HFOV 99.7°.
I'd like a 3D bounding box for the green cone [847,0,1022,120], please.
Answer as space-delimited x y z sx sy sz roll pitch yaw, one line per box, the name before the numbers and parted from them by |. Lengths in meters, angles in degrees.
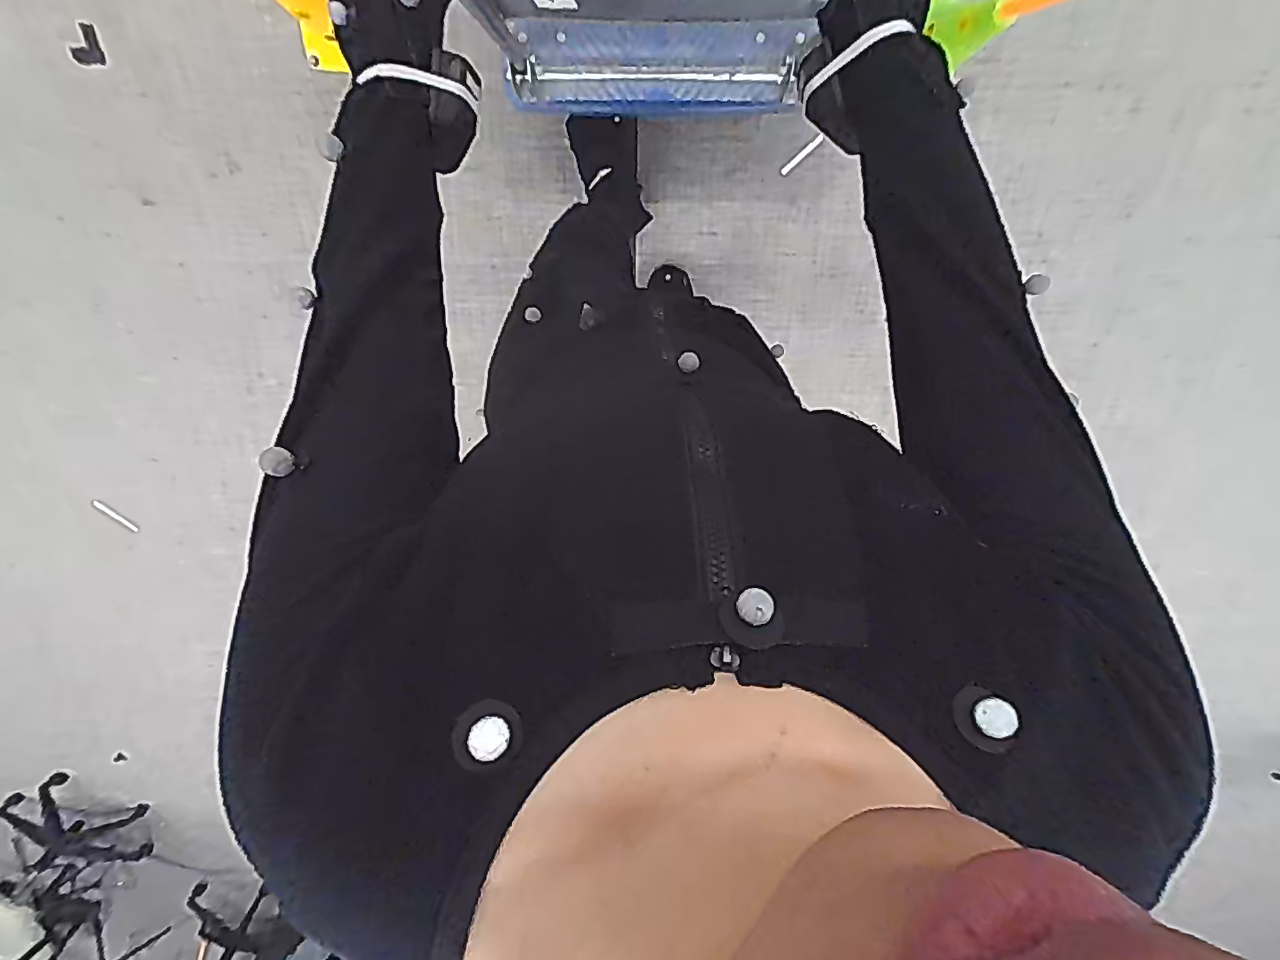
green cone | 0.540 -0.778 0.954 0.202 0.368 0.200 4 119 -2
